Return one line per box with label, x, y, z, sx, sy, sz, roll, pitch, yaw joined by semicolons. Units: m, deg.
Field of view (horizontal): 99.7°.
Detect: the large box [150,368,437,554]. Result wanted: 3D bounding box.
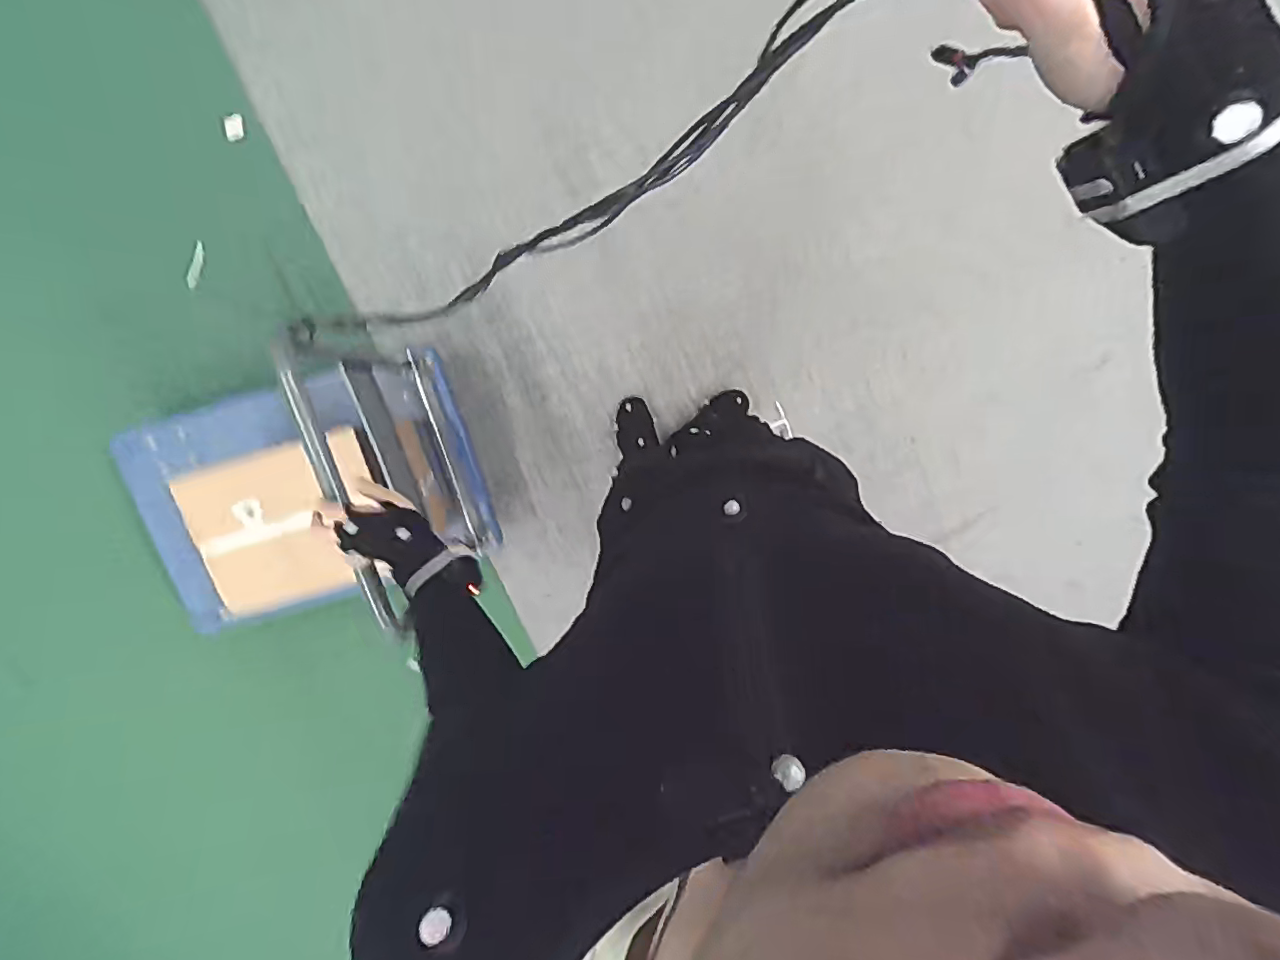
large box;-0.741;-0.063;1.233;0.408;0.320;0.320;-11;102;0
